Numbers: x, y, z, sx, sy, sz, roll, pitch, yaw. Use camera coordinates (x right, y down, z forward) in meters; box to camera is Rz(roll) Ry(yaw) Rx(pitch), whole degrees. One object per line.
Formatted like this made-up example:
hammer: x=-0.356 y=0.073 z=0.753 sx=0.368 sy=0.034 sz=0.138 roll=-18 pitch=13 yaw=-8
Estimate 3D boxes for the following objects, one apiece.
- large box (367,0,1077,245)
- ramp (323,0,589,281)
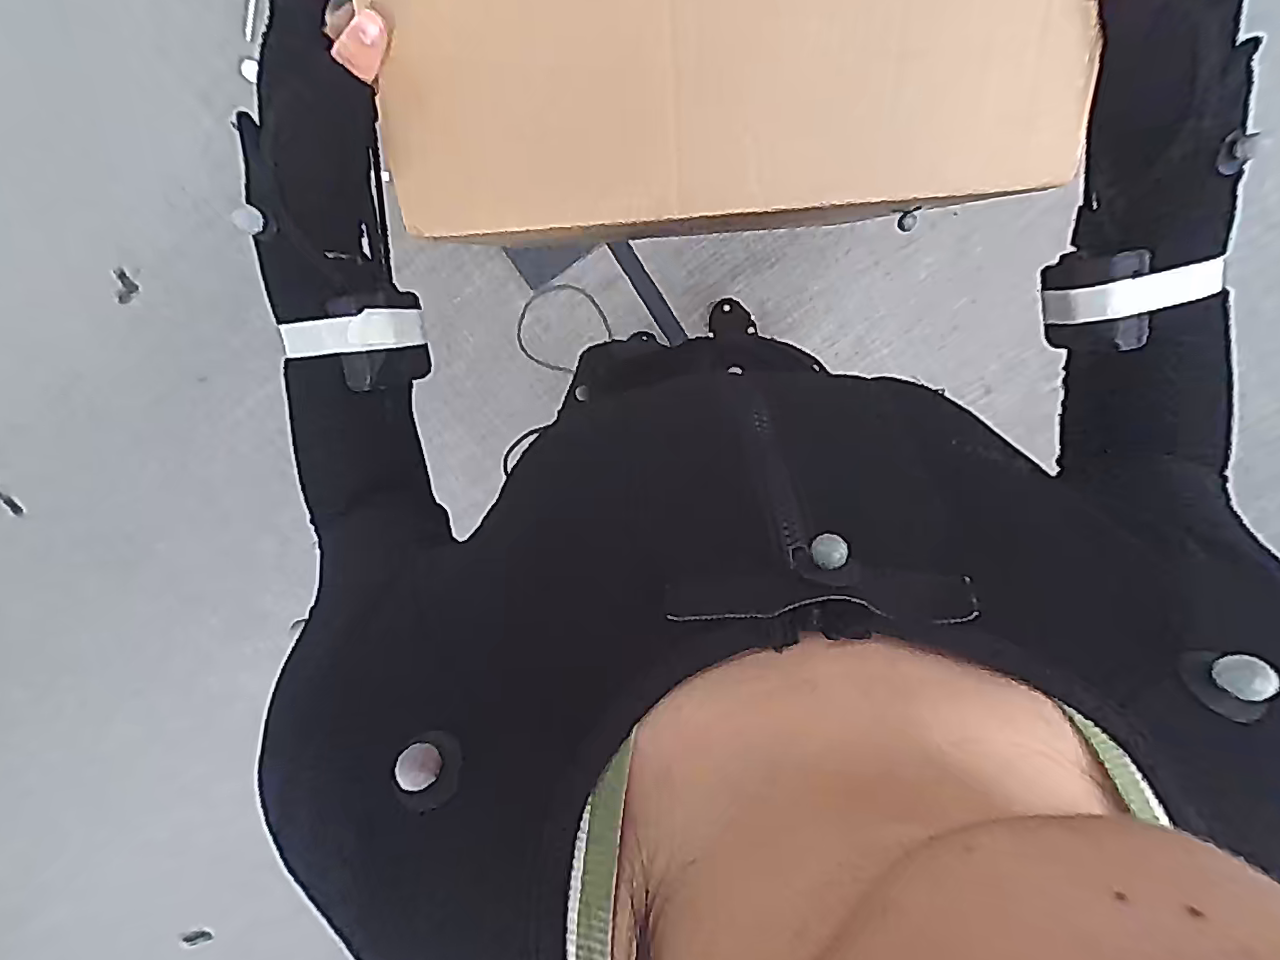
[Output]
large box: x=0.041 y=-0.367 z=0.417 sx=0.408 sy=0.320 sz=0.320 roll=-6 pitch=112 yaw=-1
ramp: x=-0.360 y=-0.997 z=1.144 sx=0.509 sy=0.206 sz=0.991 roll=-35 pitch=103 yaw=8
